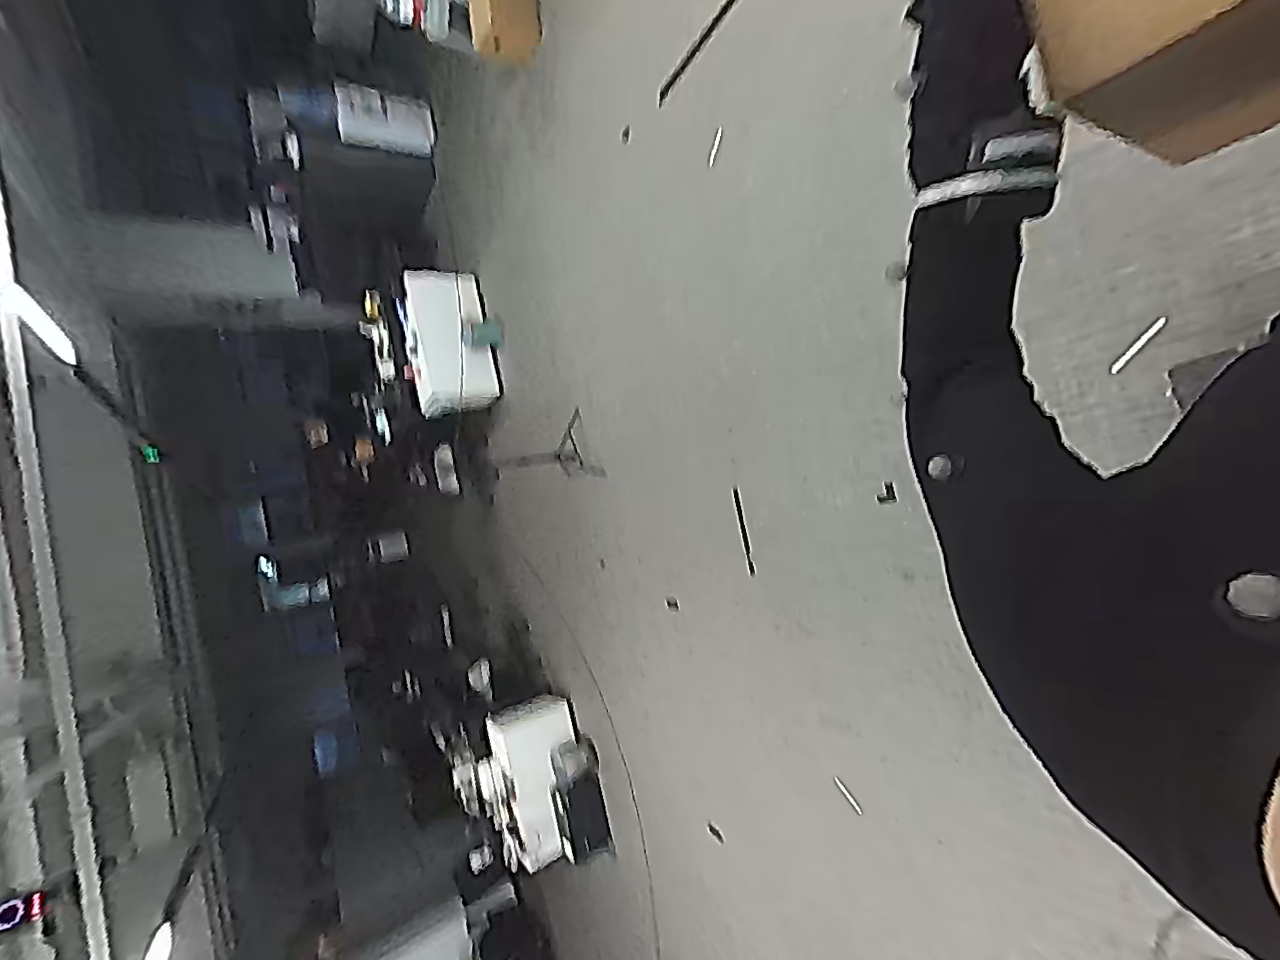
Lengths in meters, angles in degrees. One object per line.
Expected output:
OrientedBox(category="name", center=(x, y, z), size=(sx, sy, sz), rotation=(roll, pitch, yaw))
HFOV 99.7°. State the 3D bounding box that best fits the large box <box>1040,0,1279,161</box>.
OrientedBox(category="large box", center=(0.483, -0.459, 0.292), size=(0.408, 0.320, 0.320), rotation=(-12, 90, 56))
